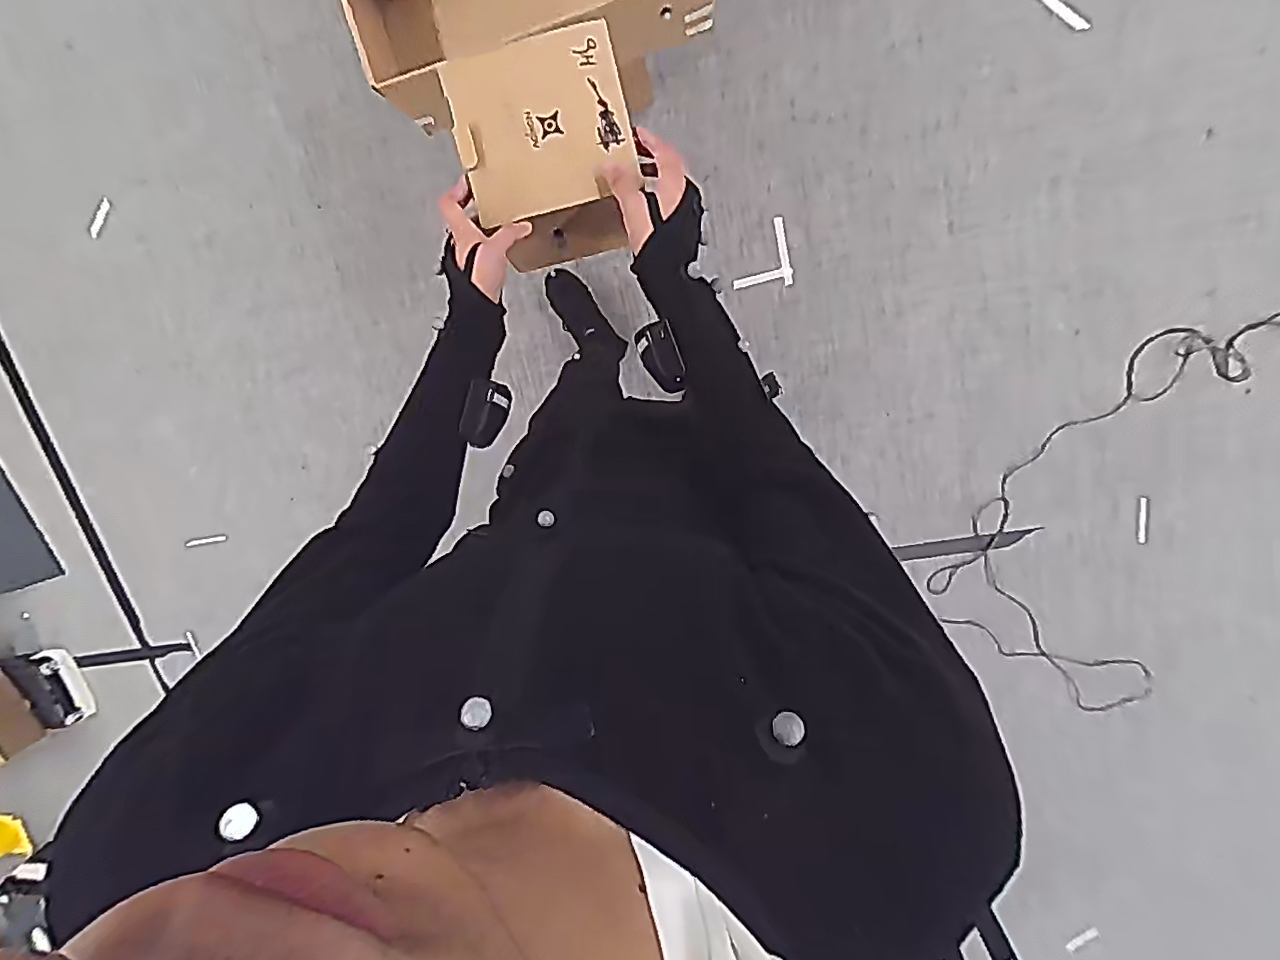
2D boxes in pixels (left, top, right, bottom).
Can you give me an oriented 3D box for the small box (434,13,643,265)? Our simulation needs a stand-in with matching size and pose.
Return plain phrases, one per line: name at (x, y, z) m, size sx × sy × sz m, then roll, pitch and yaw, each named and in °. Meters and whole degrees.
small box at (-0.100, -0.365, 0.618) m, size 0.179 × 0.176 × 0.168 m, roll -14°, pitch 96°, yaw 4°
